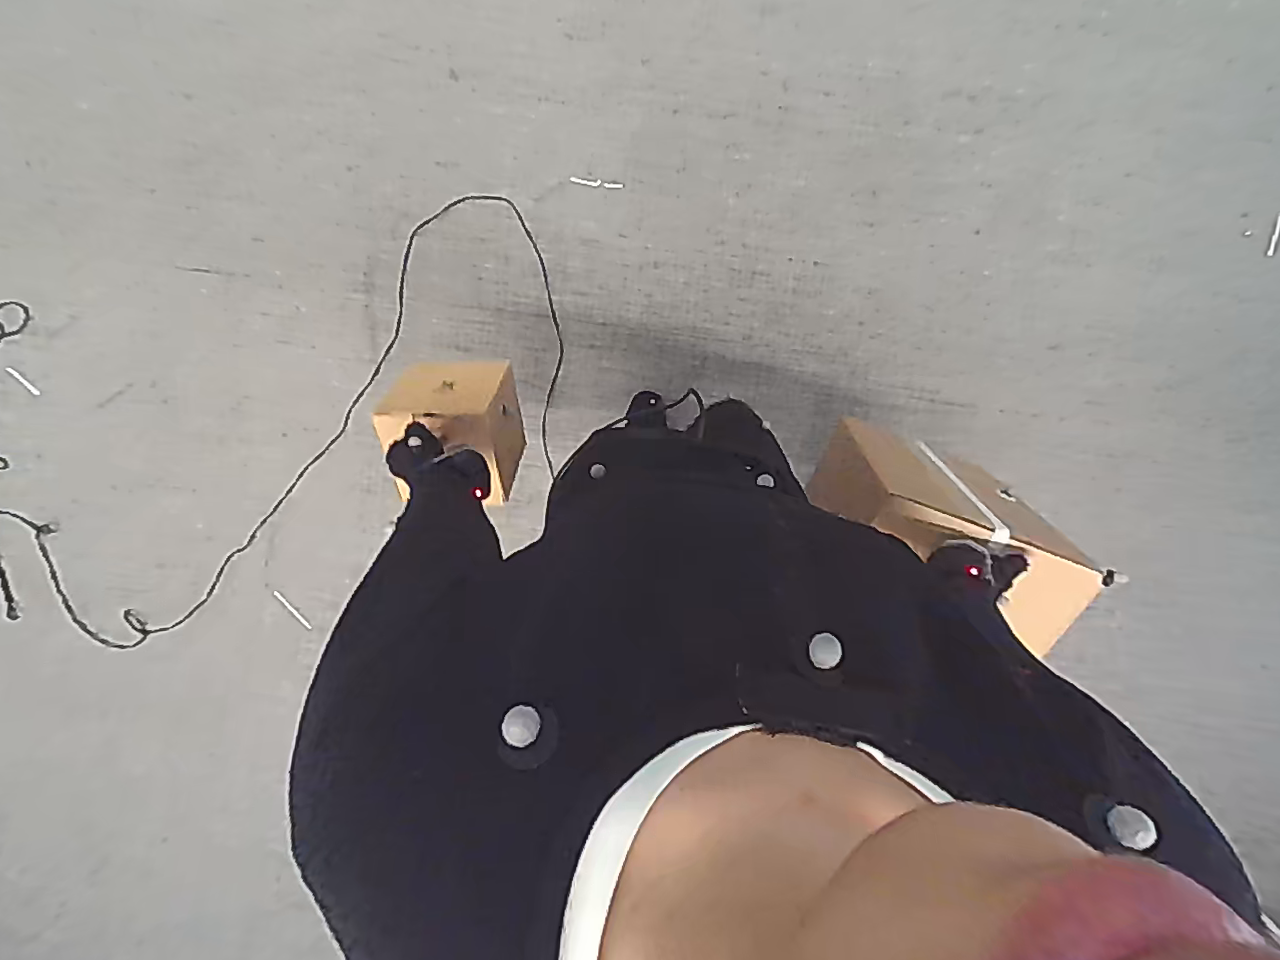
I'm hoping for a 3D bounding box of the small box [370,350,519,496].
[{"bbox_3d":[-0.298,-0.095,0.873,0.168,0.179,0.176,0,130,1],"label":"small box"}]
